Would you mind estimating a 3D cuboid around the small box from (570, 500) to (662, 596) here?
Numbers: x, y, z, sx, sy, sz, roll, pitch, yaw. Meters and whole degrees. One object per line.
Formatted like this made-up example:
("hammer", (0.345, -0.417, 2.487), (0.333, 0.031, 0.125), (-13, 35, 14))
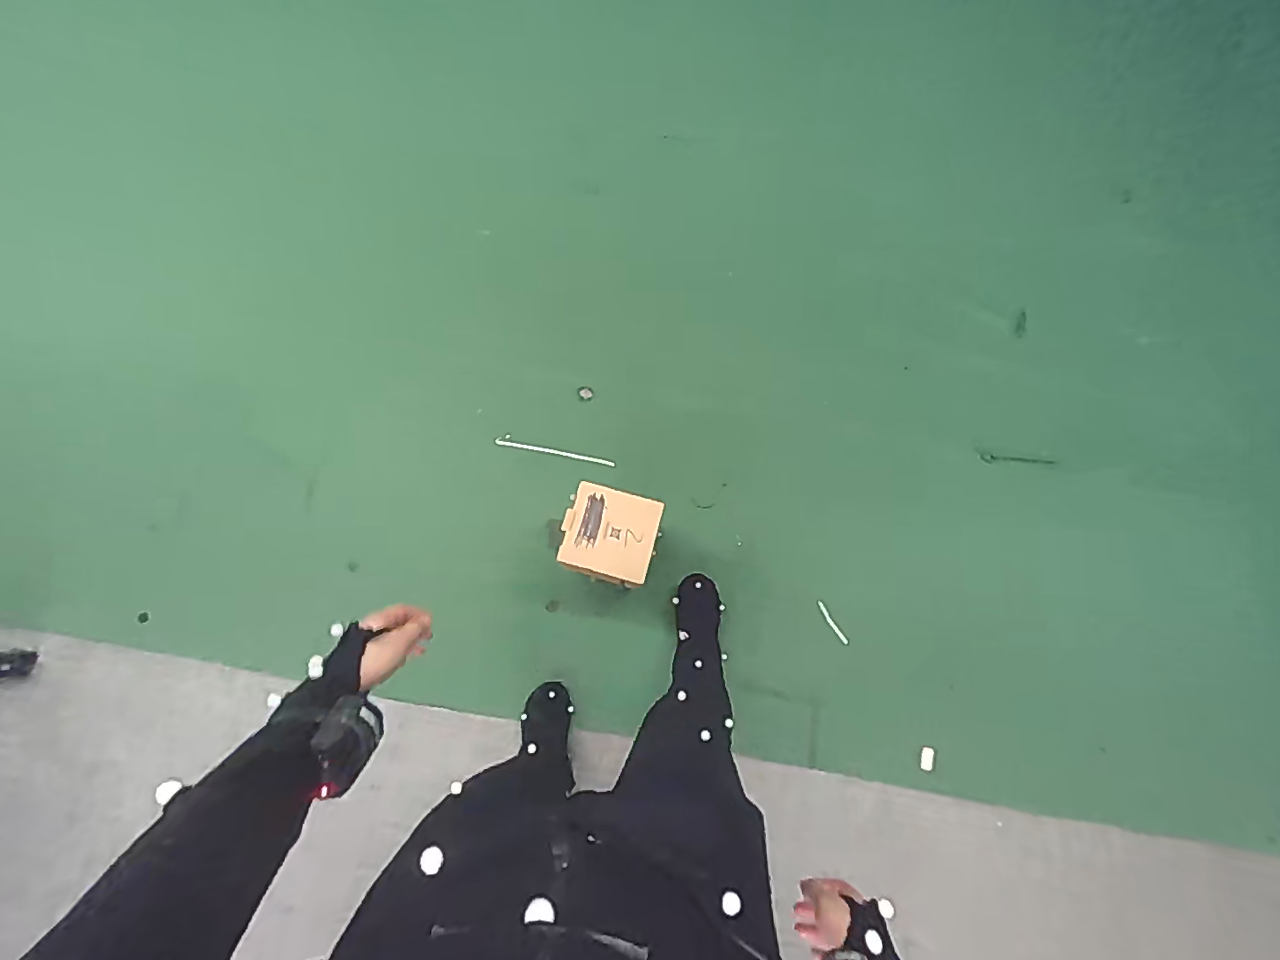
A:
("small box", (-0.055, 0.168, 1.281), (0.168, 0.176, 0.179), (18, 76, 1))
